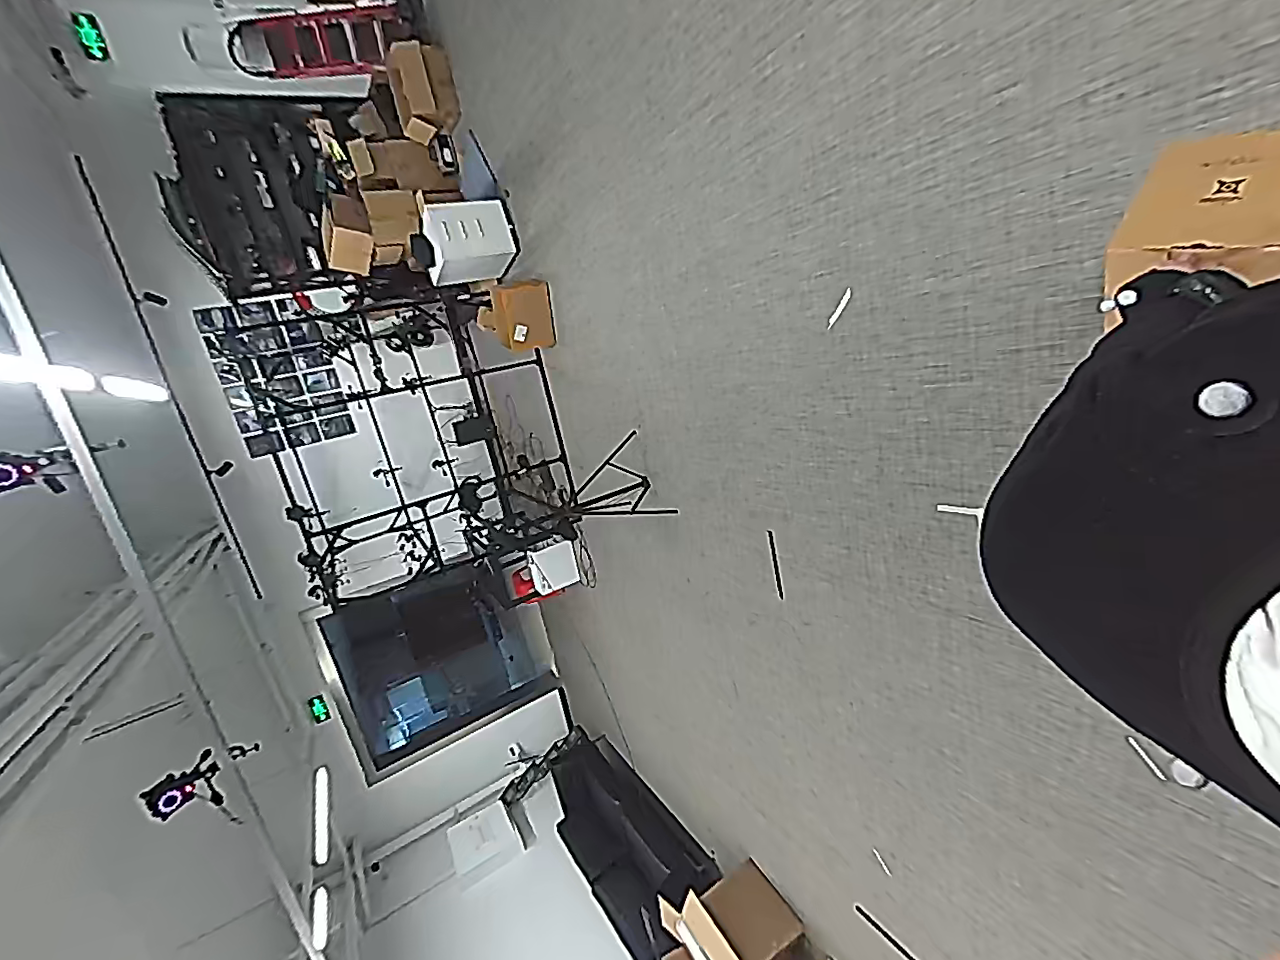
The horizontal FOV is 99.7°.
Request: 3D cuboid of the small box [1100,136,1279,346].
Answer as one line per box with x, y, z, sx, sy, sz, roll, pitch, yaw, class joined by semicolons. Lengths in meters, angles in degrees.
0.717;-0.293;0.682;0.168;0.179;0.176;25;168;46;small box
